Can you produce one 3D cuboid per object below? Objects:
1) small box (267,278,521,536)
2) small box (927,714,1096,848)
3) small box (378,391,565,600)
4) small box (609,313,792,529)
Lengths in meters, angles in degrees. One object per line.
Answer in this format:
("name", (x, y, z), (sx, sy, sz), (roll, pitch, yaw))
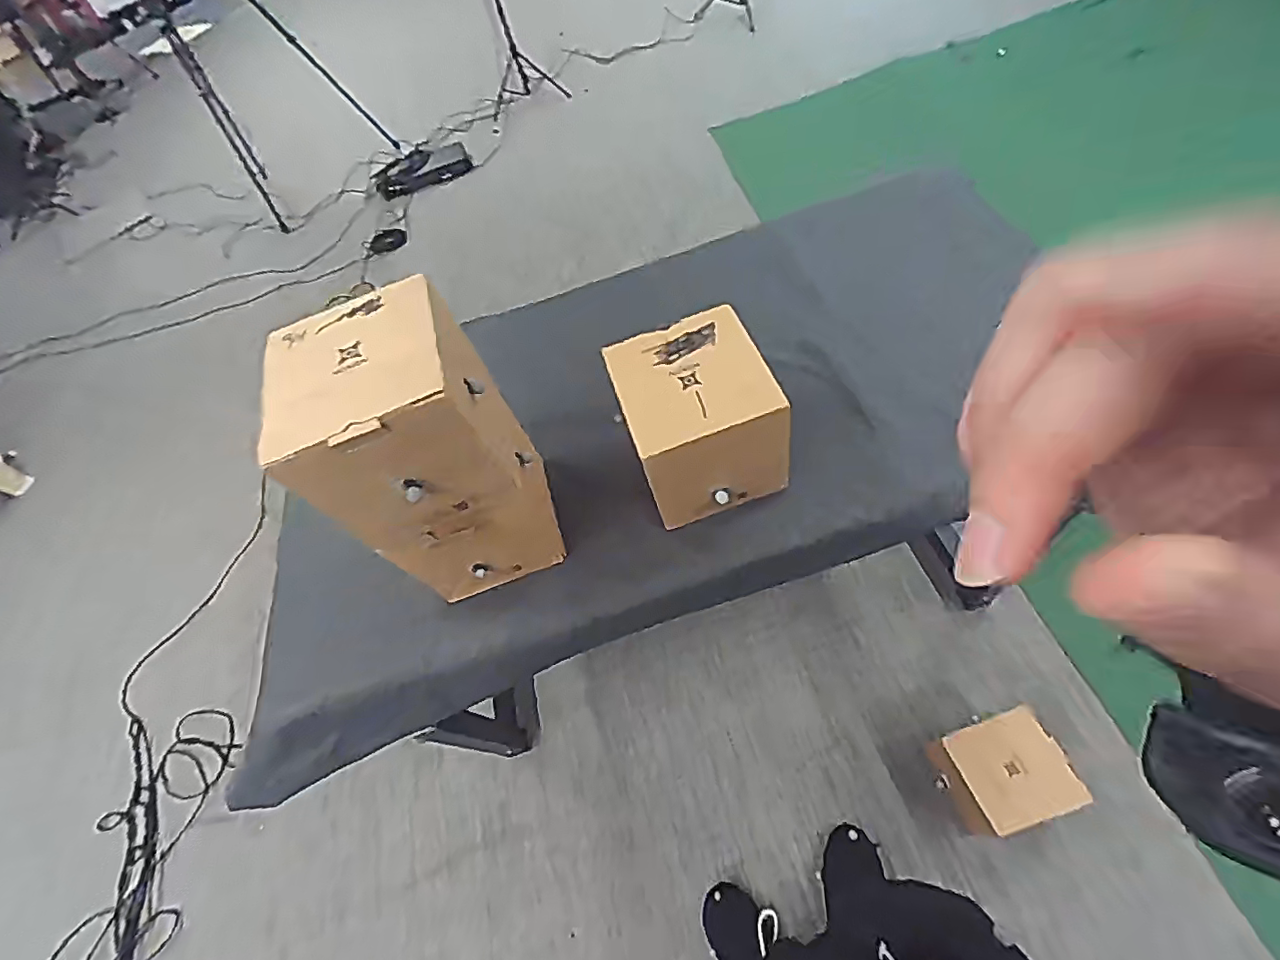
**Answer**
("small box", (-0.237, -0.062, 0.551), (0.168, 0.176, 0.179), (-22, 57, -1))
("small box", (0.672, 0.560, 1.007), (0.179, 0.176, 0.168), (-22, 54, 0))
("small box", (-0.209, 0.025, 0.687), (0.168, 0.176, 0.179), (-21, 56, 0))
("small box", (0.075, -0.068, 0.673), (0.168, 0.176, 0.179), (-20, 55, 1))
